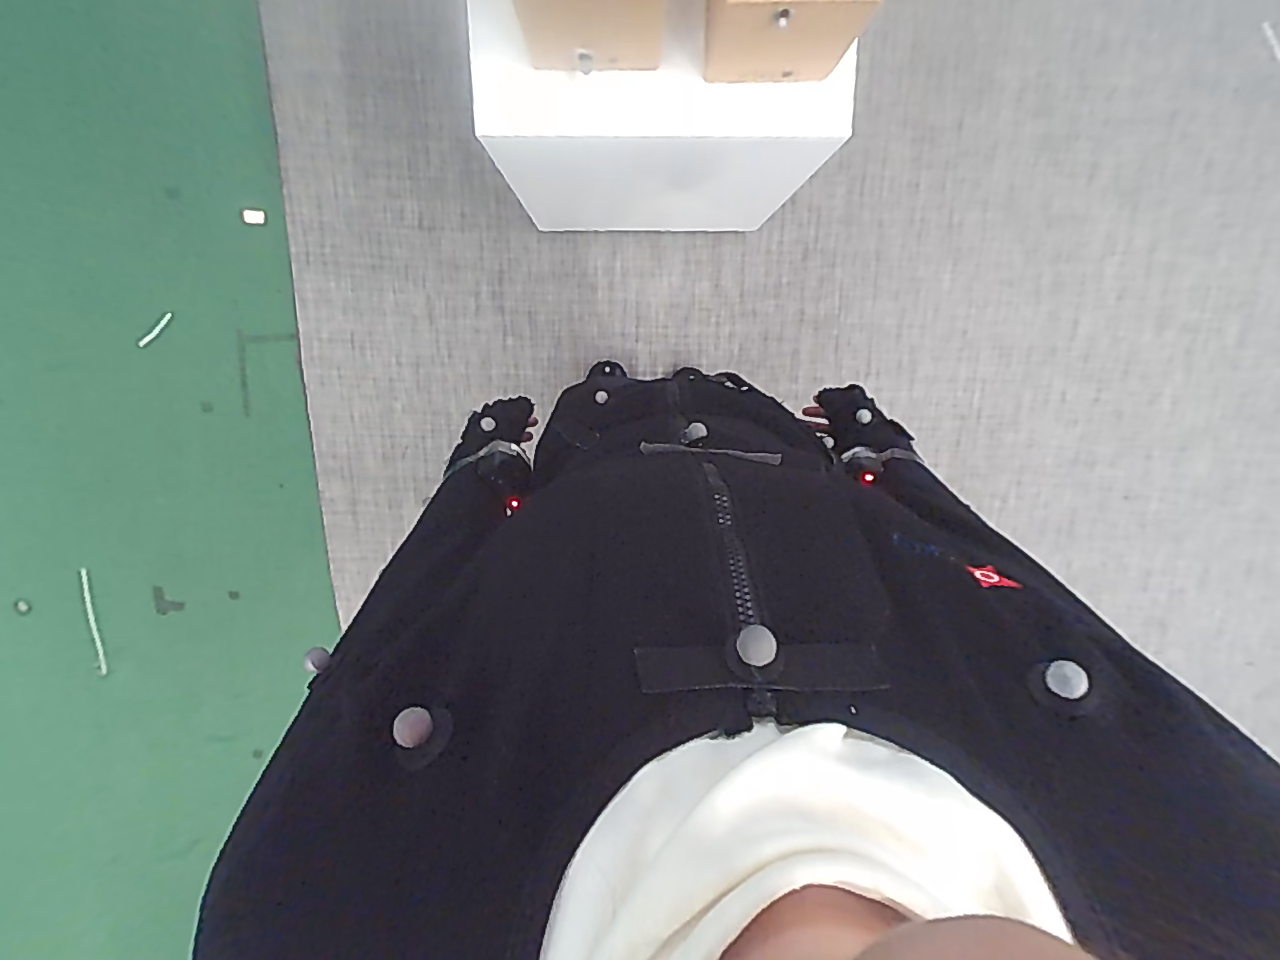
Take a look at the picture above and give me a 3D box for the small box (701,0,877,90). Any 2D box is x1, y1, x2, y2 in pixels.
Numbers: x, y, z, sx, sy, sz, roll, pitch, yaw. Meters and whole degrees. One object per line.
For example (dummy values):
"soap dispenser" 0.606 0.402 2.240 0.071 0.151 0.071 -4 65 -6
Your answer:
"small box" 0.164 -0.593 0.625 0.168 0.176 0.179 -1 101 -1

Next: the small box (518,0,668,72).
"small box" -0.056 -0.599 0.605 0.168 0.176 0.179 -3 103 0
